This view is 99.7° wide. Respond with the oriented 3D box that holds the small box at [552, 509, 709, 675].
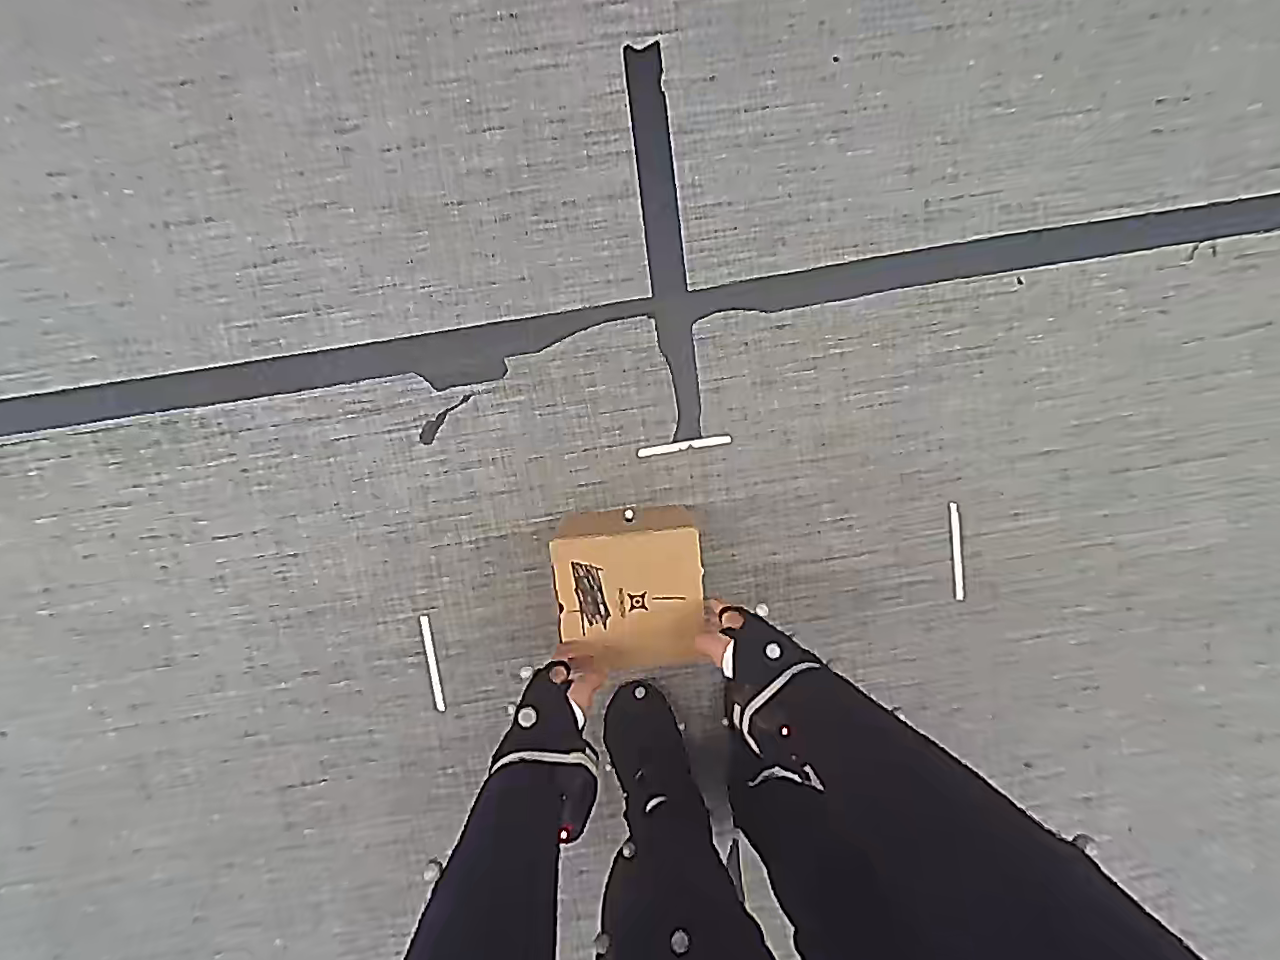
[{"bbox_3d":[-0.011,0.136,0.712,0.179,0.176,0.168,-5,97,-2],"label":"small box"}]
